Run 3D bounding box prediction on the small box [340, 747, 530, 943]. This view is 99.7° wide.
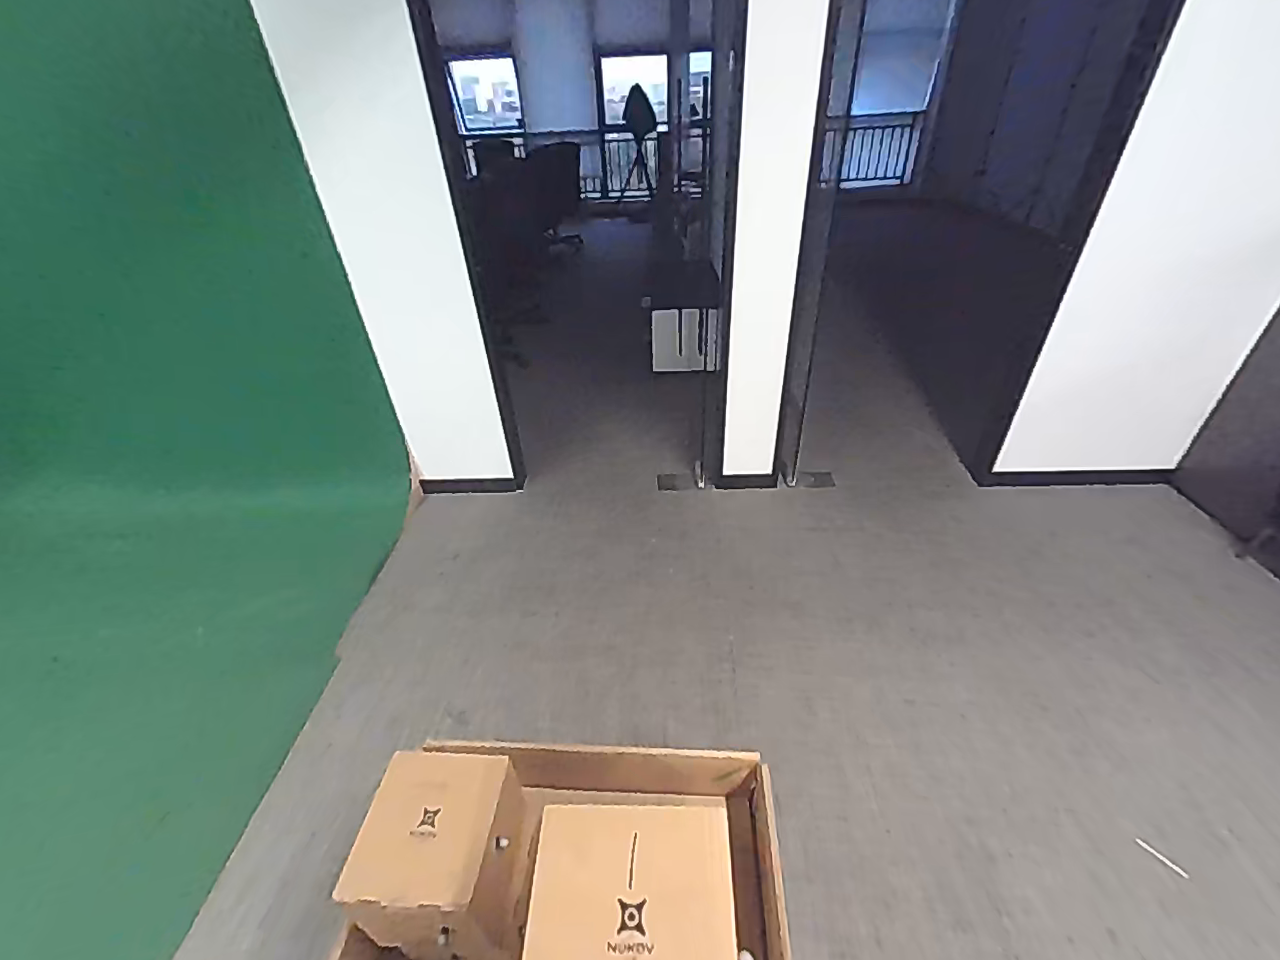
[{"bbox_3d":[-0.258,0.494,0.734,0.168,0.176,0.179,0,36,6],"label":"small box"}]

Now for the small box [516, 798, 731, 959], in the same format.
[{"bbox_3d":[-0.004,0.405,0.479,0.168,0.176,0.179,-3,43,6],"label":"small box"}]
